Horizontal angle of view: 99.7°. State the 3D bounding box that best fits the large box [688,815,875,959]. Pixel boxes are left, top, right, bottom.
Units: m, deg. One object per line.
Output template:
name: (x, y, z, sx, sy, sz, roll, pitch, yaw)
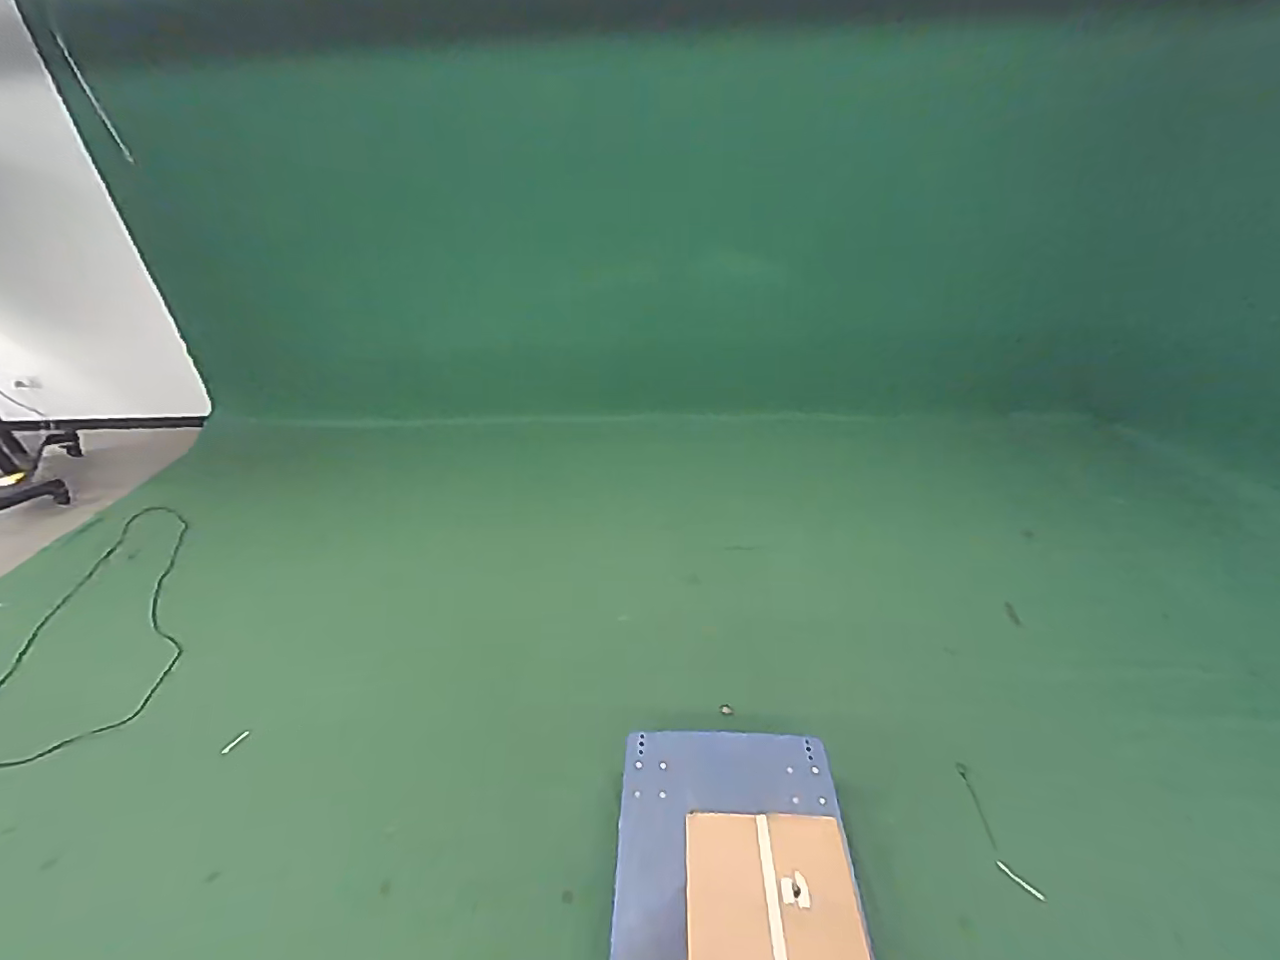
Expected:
large box: (0.252, 0.925, 1.022, 0.320, 0.320, 0.408, 0, 31, 3)
